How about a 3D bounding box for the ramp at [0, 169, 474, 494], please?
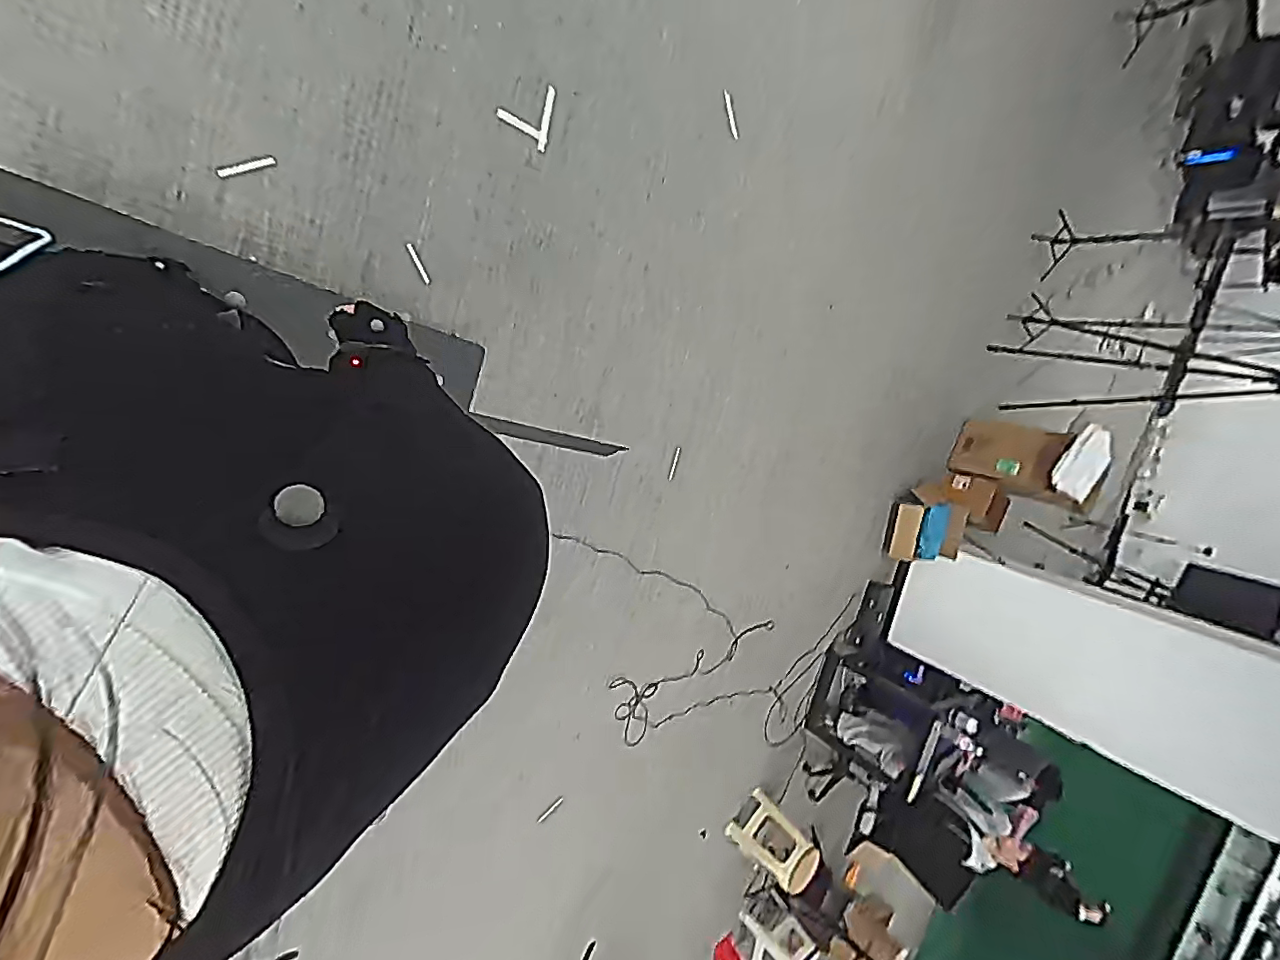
[{"bbox_3d":[-0.863,-0.239,1.257,0.991,0.206,0.509,10,98,-43],"label":"ramp"}]
